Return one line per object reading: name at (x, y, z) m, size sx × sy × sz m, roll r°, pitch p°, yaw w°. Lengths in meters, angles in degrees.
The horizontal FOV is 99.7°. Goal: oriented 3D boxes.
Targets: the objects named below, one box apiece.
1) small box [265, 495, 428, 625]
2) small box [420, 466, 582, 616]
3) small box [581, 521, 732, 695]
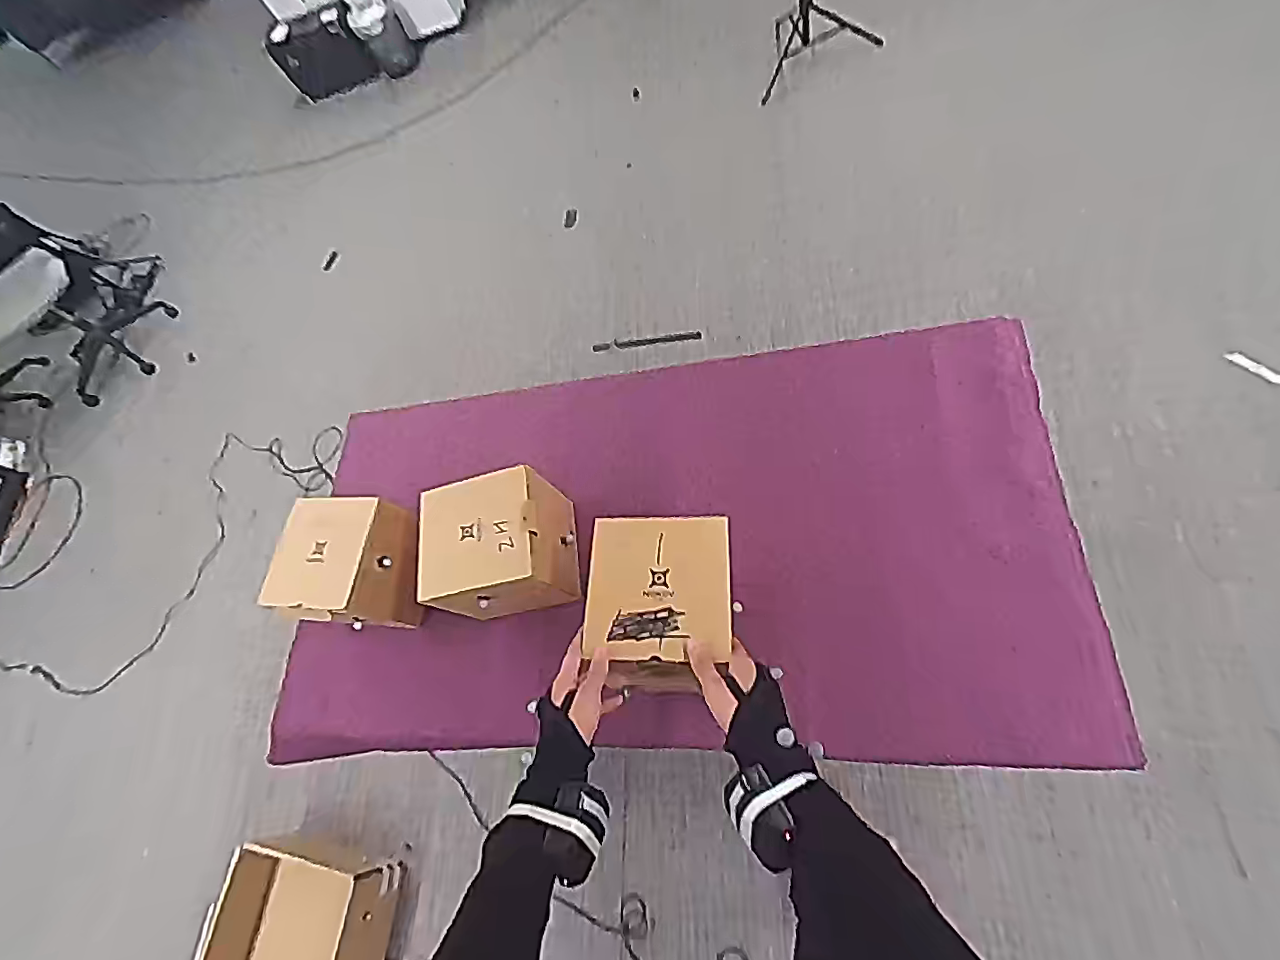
small box at (-0.453, 0.136, 0.886) m, size 0.168 × 0.176 × 0.179 m, roll 0°, pitch 67°, yaw 17°
small box at (-0.203, 0.101, 0.820) m, size 0.179 × 0.176 × 0.168 m, roll -13°, pitch 64°, yaw 12°
small box at (0.033, 0.166, 0.685) m, size 0.168 × 0.176 × 0.179 m, roll -1°, pitch 58°, yaw 8°
